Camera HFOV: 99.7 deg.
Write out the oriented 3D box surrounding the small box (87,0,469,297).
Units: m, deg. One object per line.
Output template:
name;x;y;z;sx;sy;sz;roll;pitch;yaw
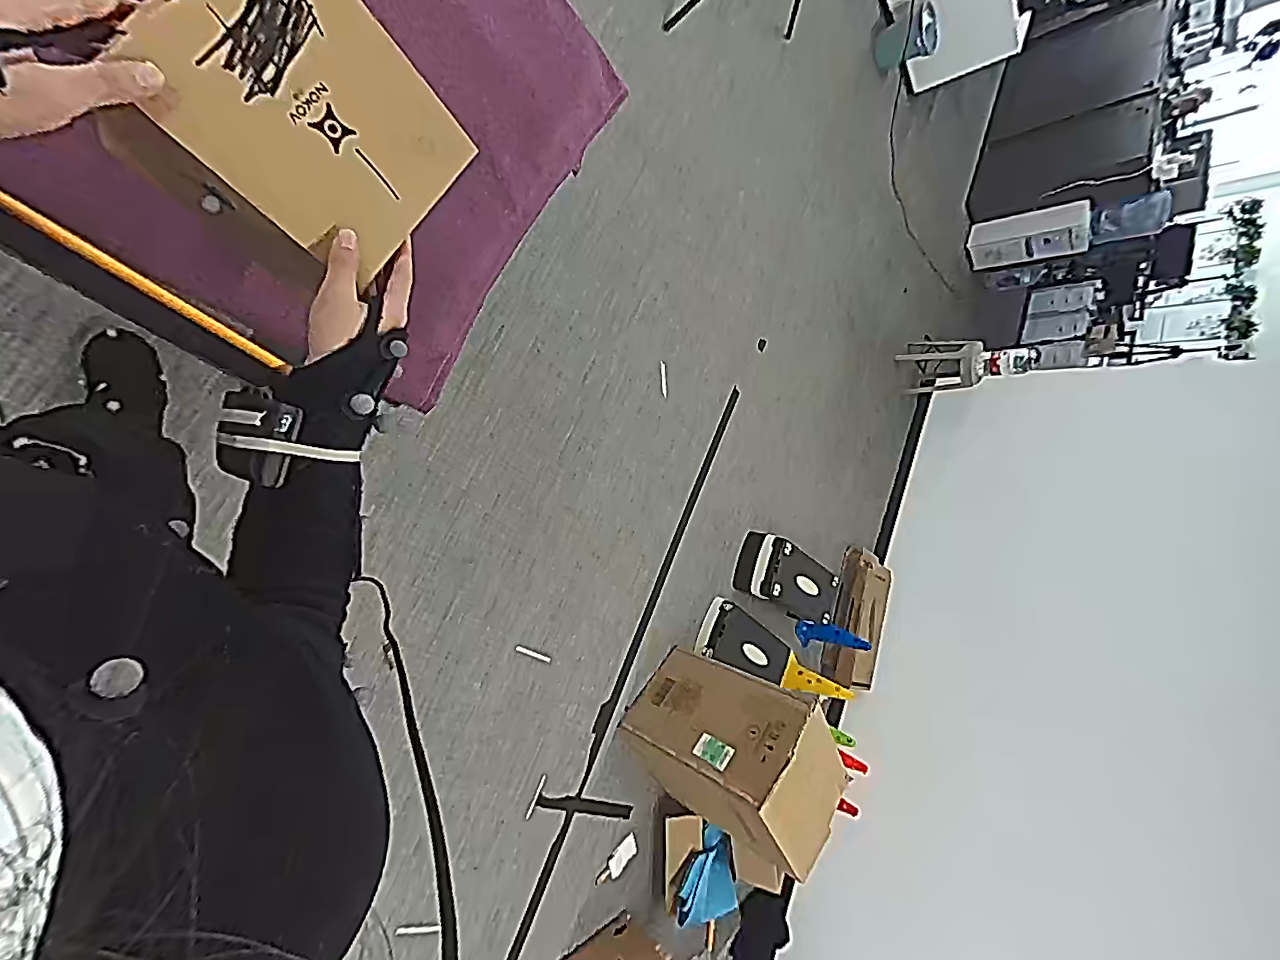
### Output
small box;-0.286;-0.268;0.442;0.179;0.176;0.168;44;71;-41
